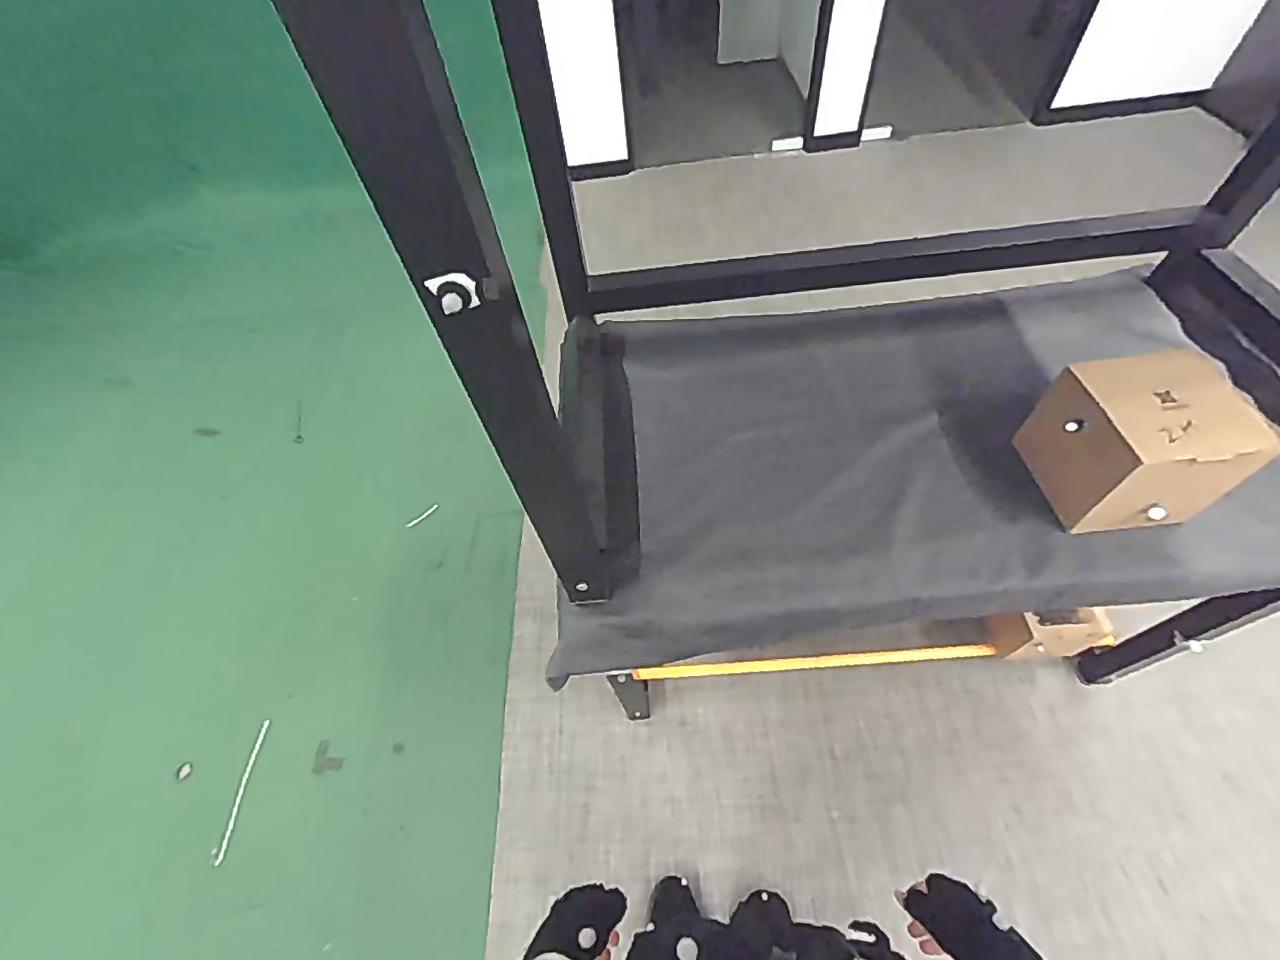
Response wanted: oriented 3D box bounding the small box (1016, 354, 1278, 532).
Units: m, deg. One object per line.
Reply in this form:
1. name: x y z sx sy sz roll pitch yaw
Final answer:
1. small box: 0.674 -0.048 0.753 0.168 0.176 0.179 -6 53 3
